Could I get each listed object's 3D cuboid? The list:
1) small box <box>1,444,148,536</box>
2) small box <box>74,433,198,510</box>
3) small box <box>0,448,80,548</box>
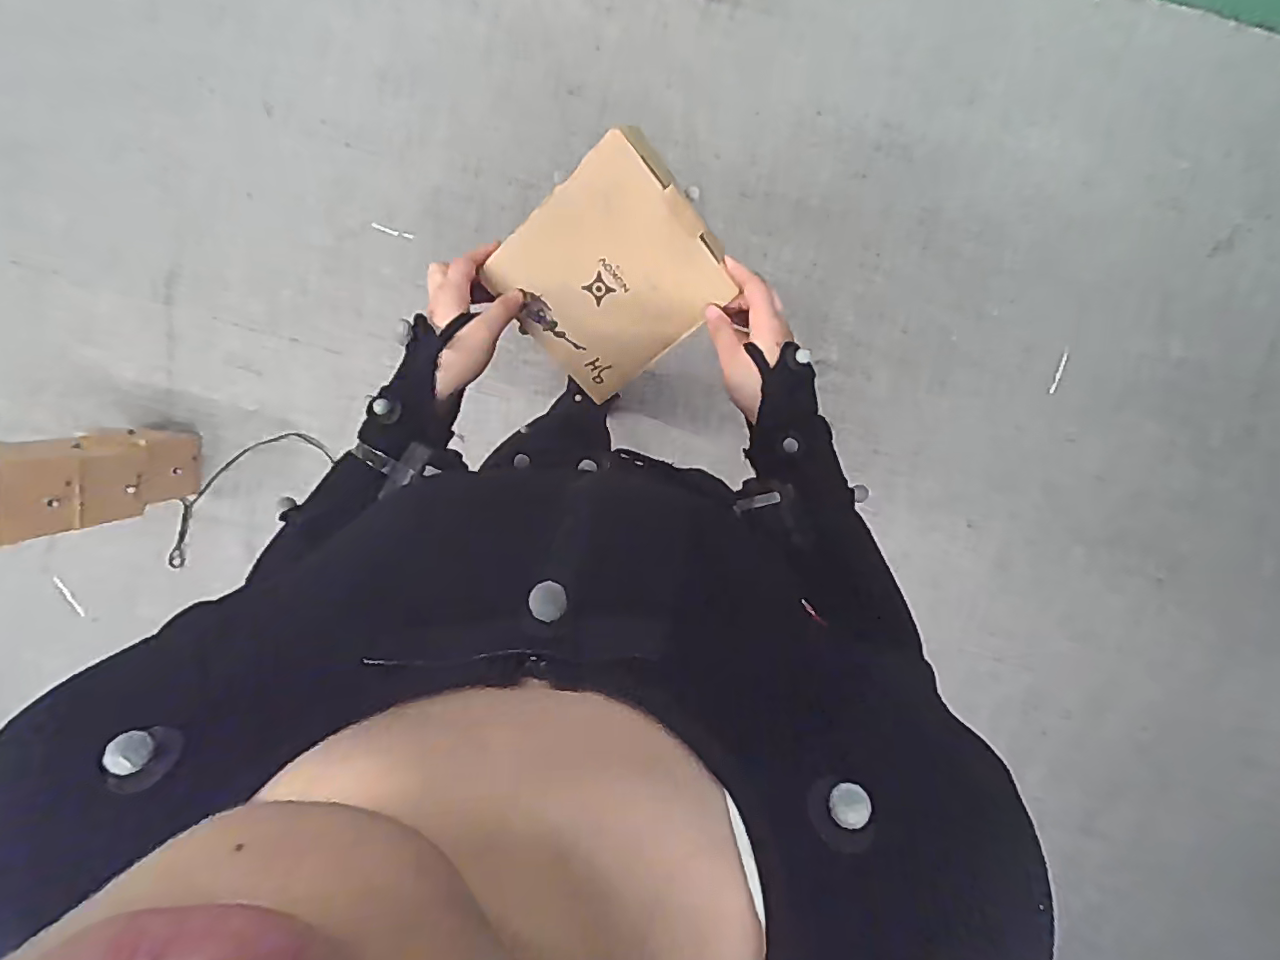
[{"bbox_3d":[-1.288,0.014,1.234,0.179,0.176,0.168,11,99,-2],"label":"small box"},{"bbox_3d":[-1.286,-0.028,1.393,0.179,0.176,0.168,8,98,0],"label":"small box"},{"bbox_3d":[-1.285,0.034,1.072,0.179,0.176,0.168,10,99,-2],"label":"small box"}]
